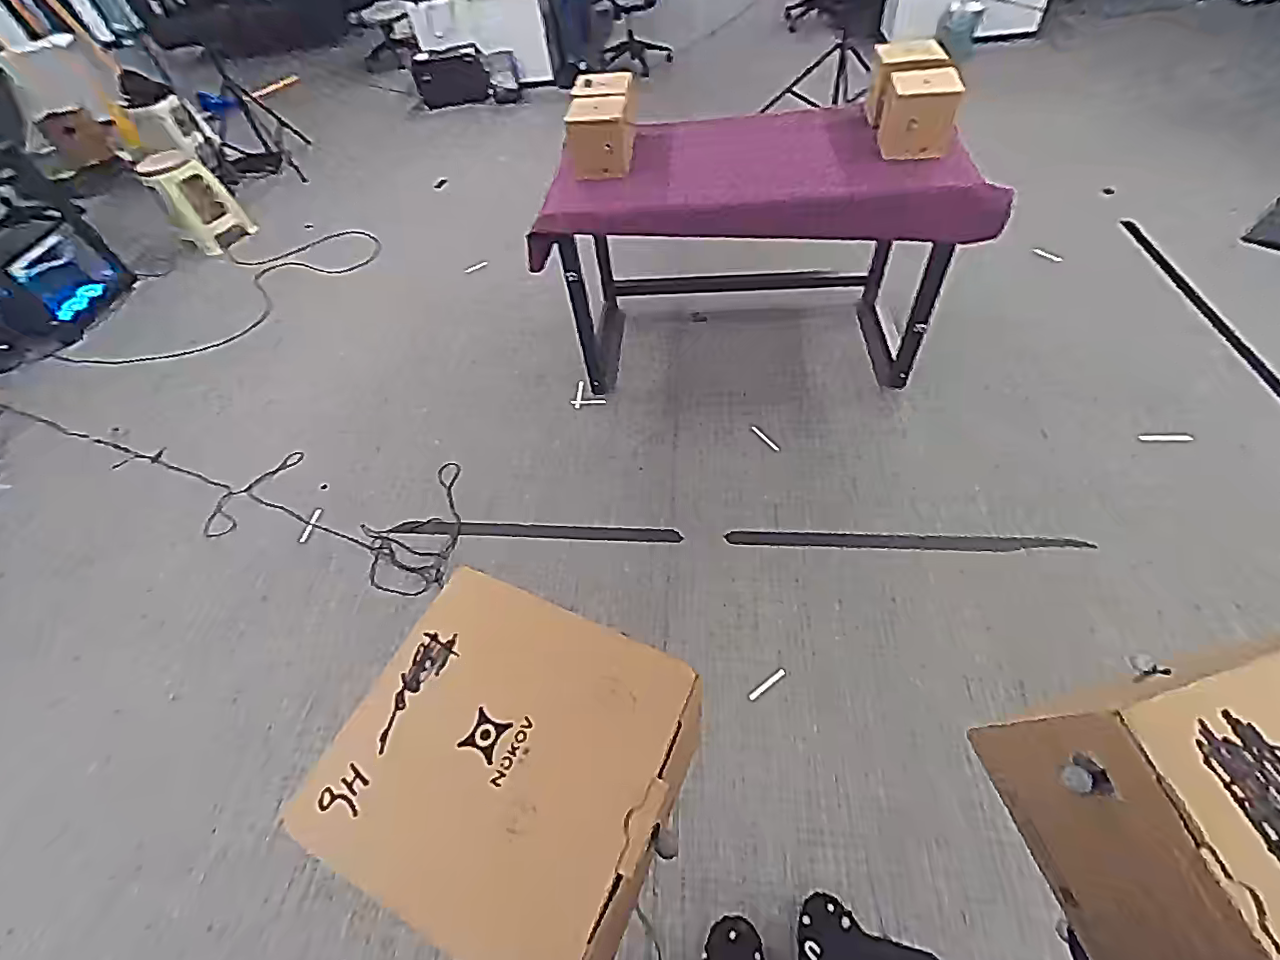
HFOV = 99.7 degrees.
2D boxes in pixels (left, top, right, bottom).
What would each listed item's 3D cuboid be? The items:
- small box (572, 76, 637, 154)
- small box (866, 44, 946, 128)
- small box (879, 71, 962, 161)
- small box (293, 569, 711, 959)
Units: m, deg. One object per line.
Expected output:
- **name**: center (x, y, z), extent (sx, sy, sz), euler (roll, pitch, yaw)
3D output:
- **small box**: center (-0.111, -1.194, 1.775), extent (0.179, 0.176, 0.168), euler (3, 55, 8)
- **small box**: center (0.804, -1.205, 1.660), extent (0.179, 0.176, 0.168), euler (2, 54, 8)
- **small box**: center (0.785, -1.023, 1.531), extent (0.168, 0.176, 0.179), euler (4, 52, 12)
- **small box**: center (-0.065, 0.192, 0.360), extent (0.179, 0.176, 0.168), euler (19, 58, 18)
